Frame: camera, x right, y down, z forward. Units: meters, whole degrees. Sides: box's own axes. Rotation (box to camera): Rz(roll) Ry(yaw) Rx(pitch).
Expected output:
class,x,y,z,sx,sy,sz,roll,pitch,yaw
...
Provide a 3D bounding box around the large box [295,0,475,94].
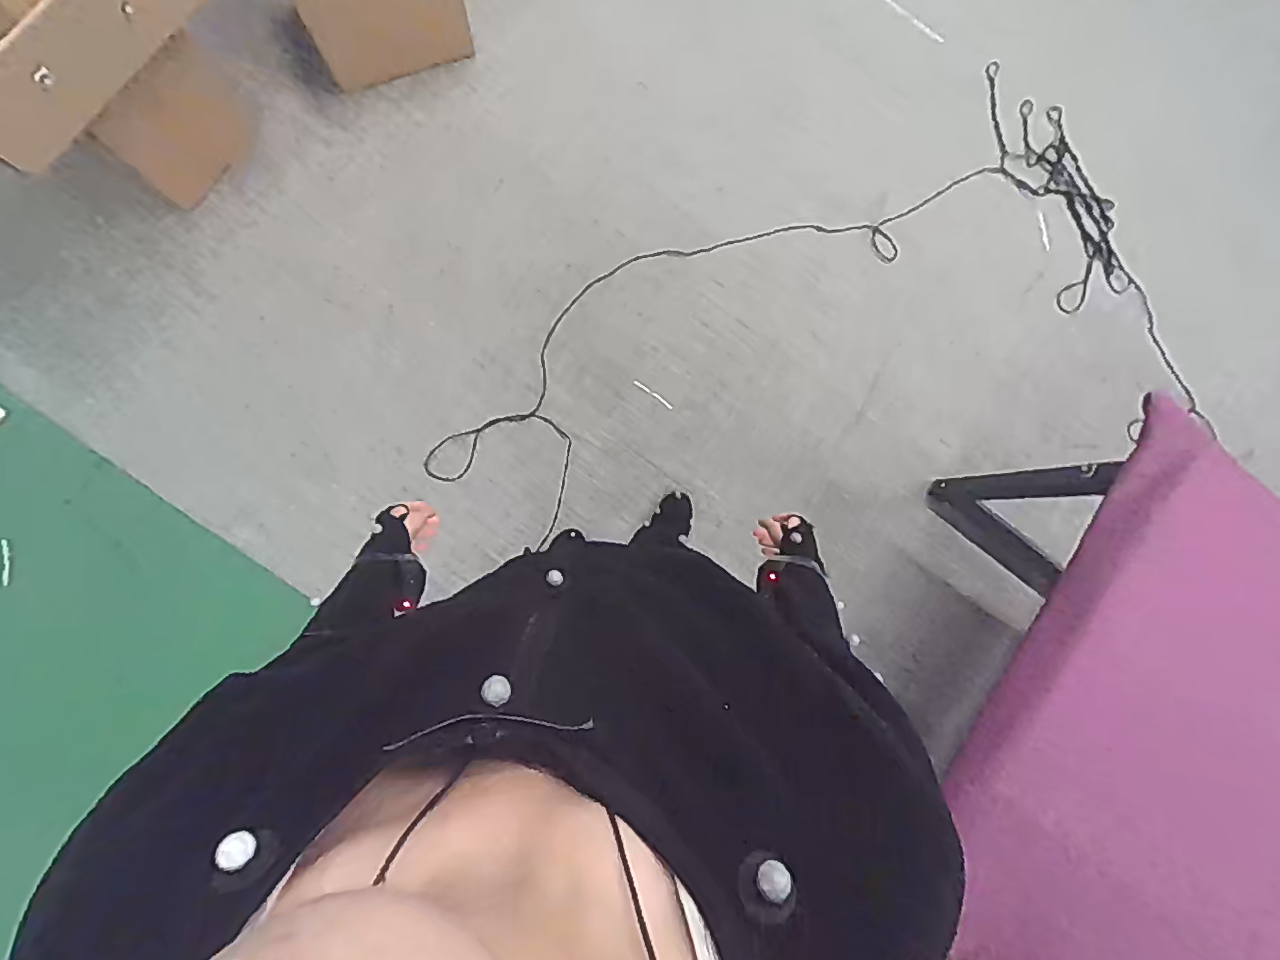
class,x,y,z,sx,sy,sz,roll,pitch,yaw
large box,-0.701,-1.314,1.416,0.408,0.320,0.320,-24,89,-9
